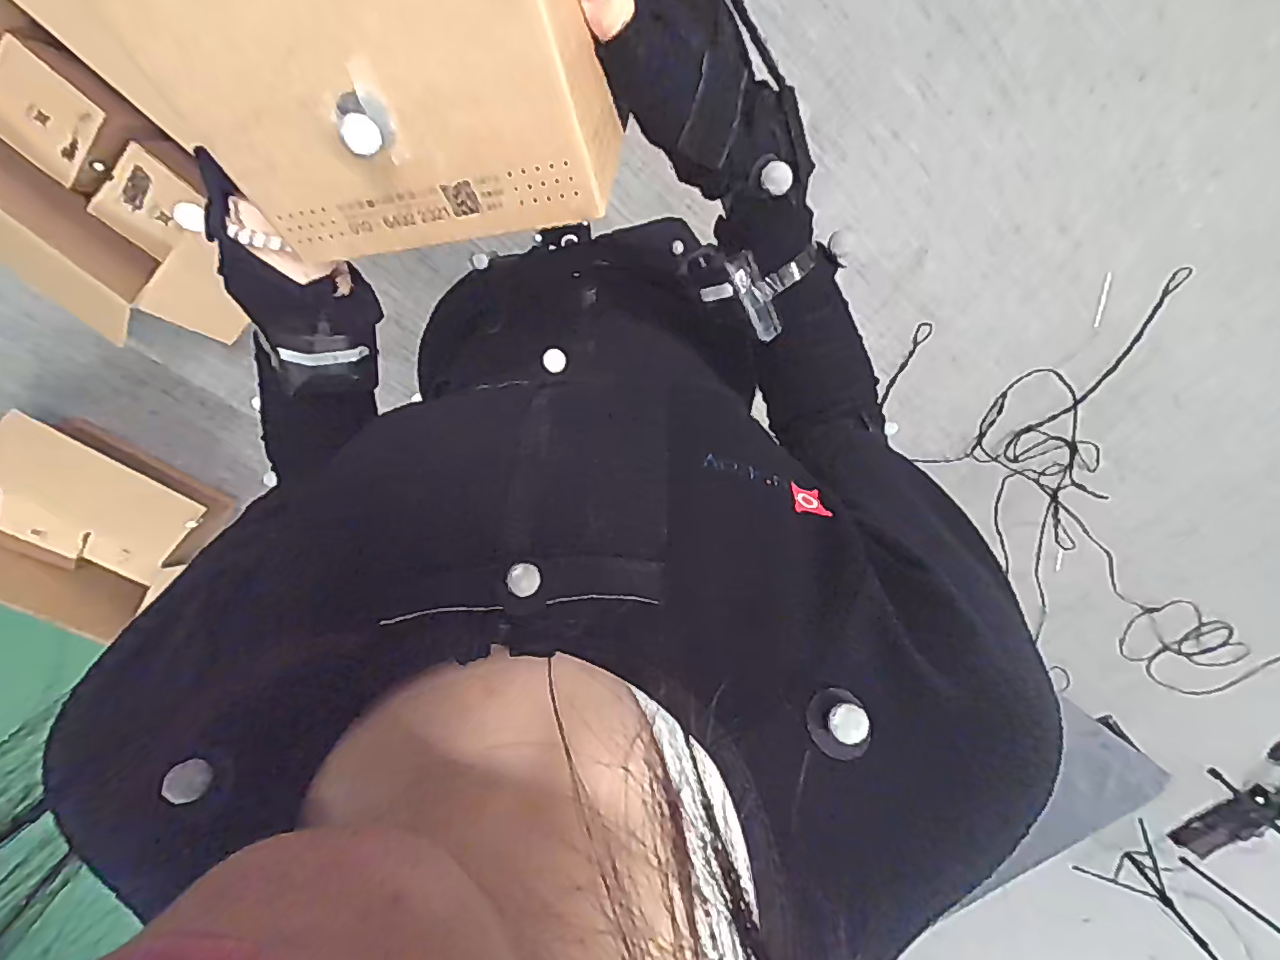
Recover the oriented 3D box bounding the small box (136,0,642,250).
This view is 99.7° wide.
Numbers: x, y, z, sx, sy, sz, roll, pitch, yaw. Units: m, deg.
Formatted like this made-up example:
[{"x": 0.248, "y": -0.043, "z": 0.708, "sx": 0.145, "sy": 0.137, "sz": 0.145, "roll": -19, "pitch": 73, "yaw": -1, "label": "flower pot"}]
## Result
[{"x": -0.100, "y": -0.232, "z": 0.238, "sx": 0.168, "sy": 0.179, "sz": 0.176, "roll": -2, "pitch": 148, "yaw": 14, "label": "small box"}]
